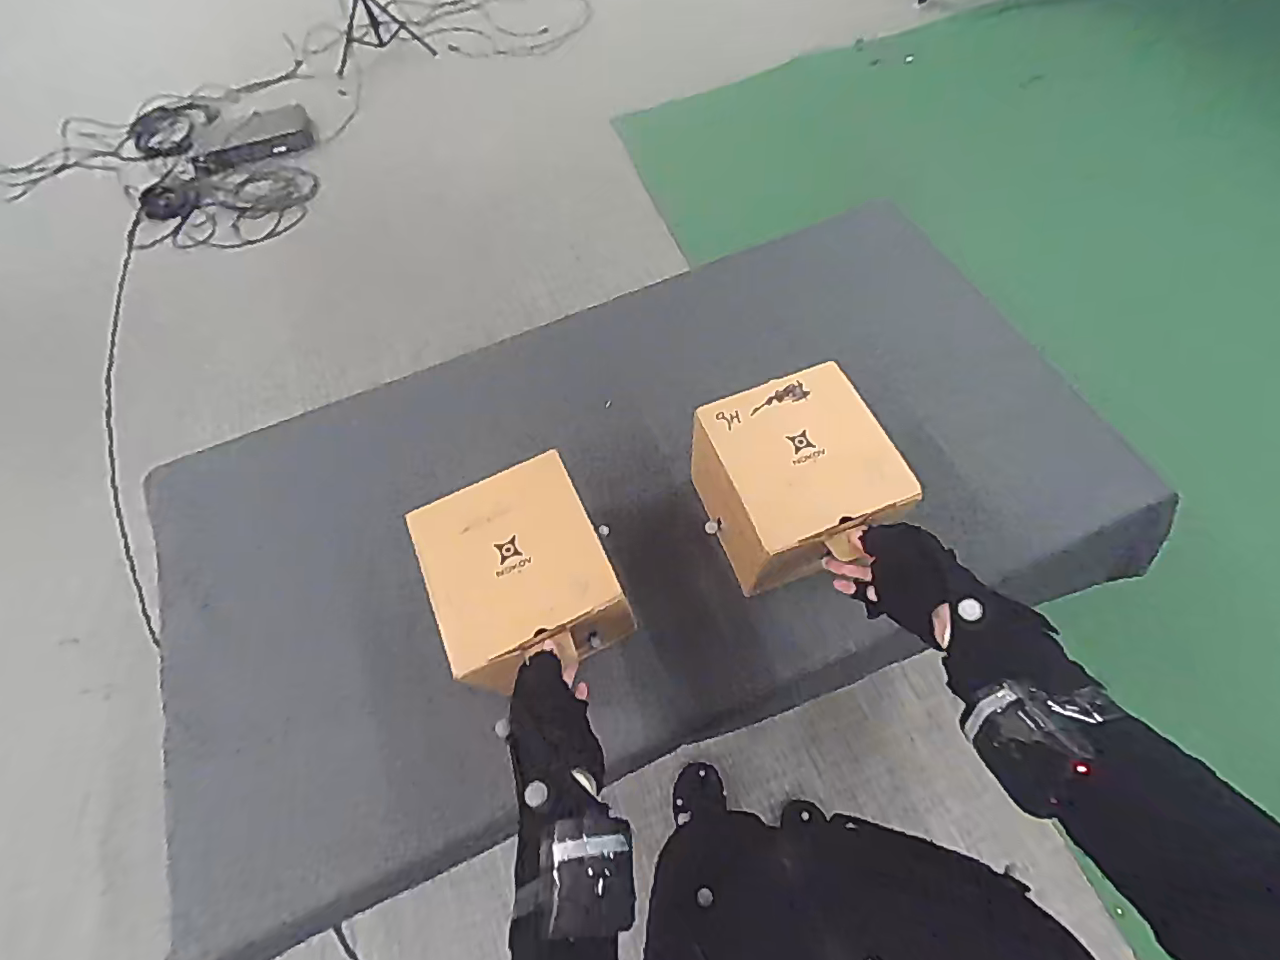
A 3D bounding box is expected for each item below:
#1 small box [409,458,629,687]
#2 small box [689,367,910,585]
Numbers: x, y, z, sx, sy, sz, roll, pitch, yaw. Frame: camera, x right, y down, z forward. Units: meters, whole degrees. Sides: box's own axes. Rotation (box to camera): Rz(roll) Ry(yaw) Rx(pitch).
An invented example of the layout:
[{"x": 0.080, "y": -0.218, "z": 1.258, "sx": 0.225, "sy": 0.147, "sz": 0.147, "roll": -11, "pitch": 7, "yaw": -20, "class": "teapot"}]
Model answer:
[{"x": -0.121, "y": 0.112, "z": 0.597, "sx": 0.168, "sy": 0.176, "sz": 0.179, "roll": -25, "pitch": 64, "yaw": -8, "class": "small box"}, {"x": 0.164, "y": 0.008, "z": 0.622, "sx": 0.168, "sy": 0.176, "sz": 0.179, "roll": -20, "pitch": 66, "yaw": -6, "class": "small box"}]
